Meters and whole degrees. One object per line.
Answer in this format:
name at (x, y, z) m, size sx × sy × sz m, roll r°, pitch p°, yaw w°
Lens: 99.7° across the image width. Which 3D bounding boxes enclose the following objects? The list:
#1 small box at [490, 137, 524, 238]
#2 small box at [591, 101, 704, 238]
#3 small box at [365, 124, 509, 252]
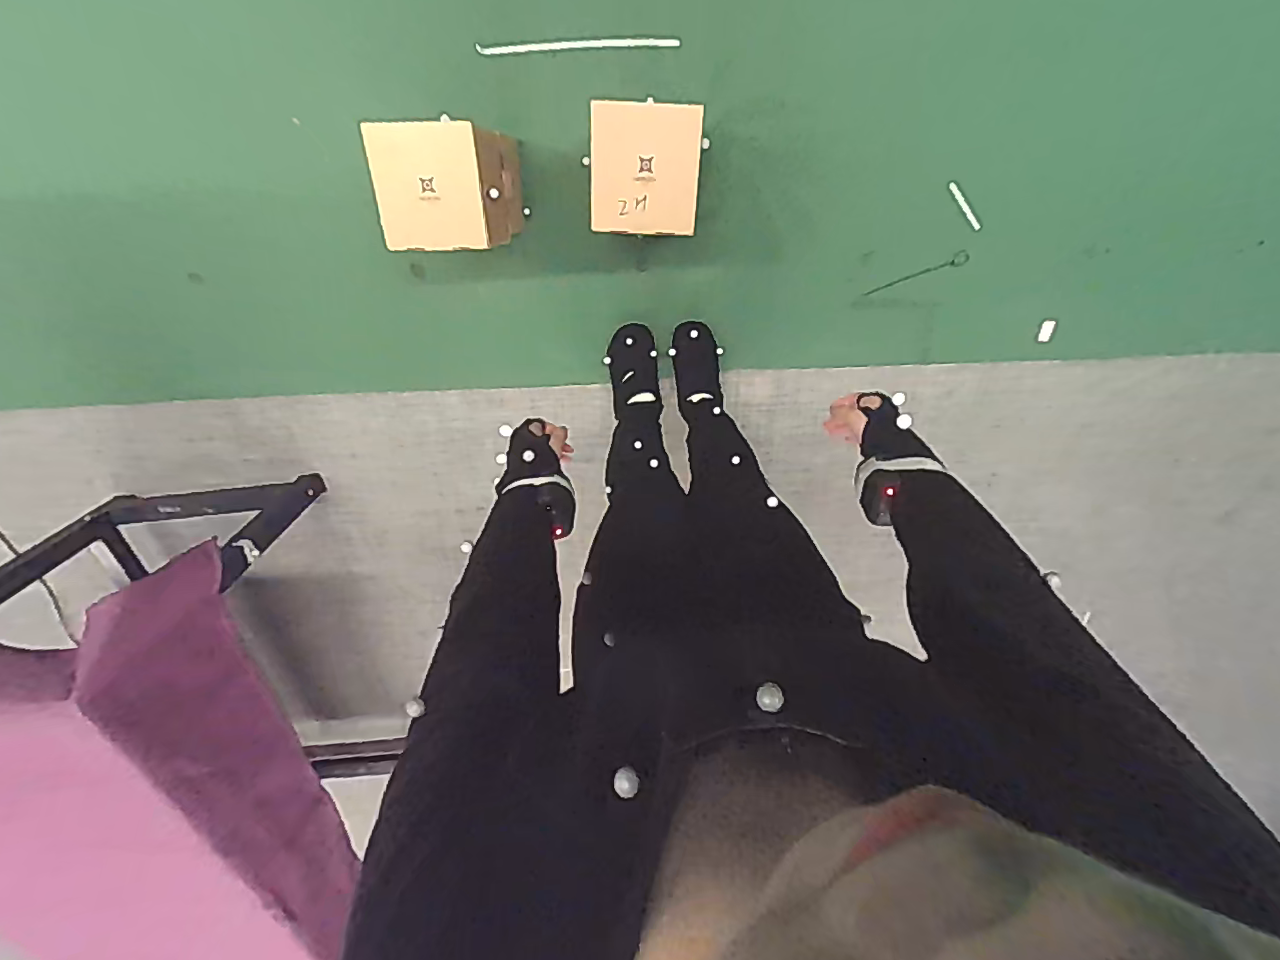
small box at (-0.327, -0.564, 1.046) m, size 0.179 × 0.176 × 0.168 m, roll -1°, pitch 118°, yaw 1°
small box at (0.007, -0.505, 0.891) m, size 0.168 × 0.176 × 0.179 m, roll 2°, pitch 119°, yaw -1°
small box at (-0.326, -0.483, 0.905) m, size 0.168 × 0.176 × 0.179 m, roll -1°, pitch 119°, yaw 1°
